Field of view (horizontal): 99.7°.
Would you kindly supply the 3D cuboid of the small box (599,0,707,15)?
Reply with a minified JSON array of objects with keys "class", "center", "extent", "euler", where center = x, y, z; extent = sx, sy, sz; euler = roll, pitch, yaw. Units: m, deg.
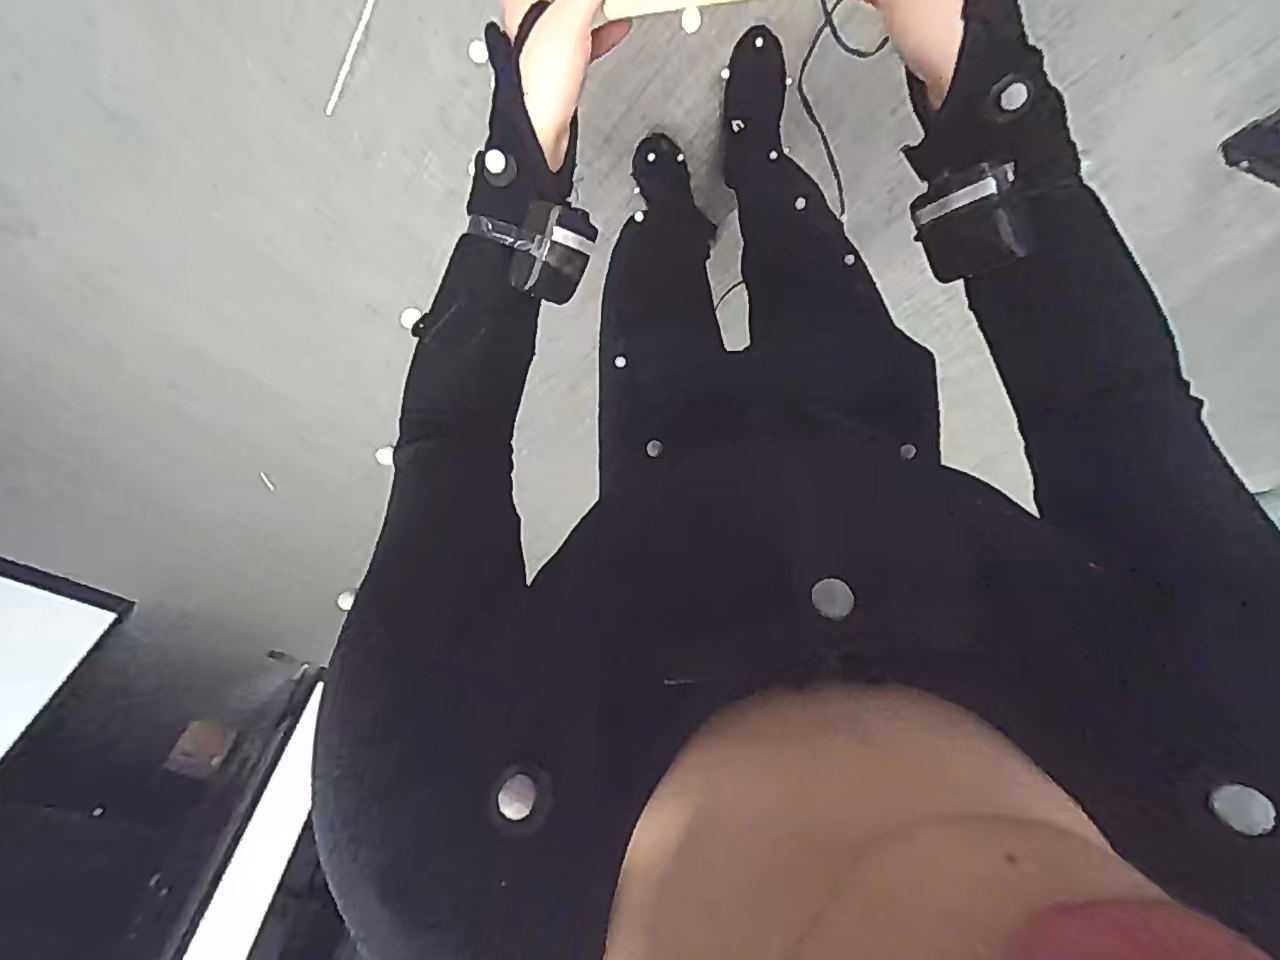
[{"class":"small box","center":[0.048,-0.423,0.344],"extent":[0.168,0.176,0.179],"euler":[-5,131,5]}]
